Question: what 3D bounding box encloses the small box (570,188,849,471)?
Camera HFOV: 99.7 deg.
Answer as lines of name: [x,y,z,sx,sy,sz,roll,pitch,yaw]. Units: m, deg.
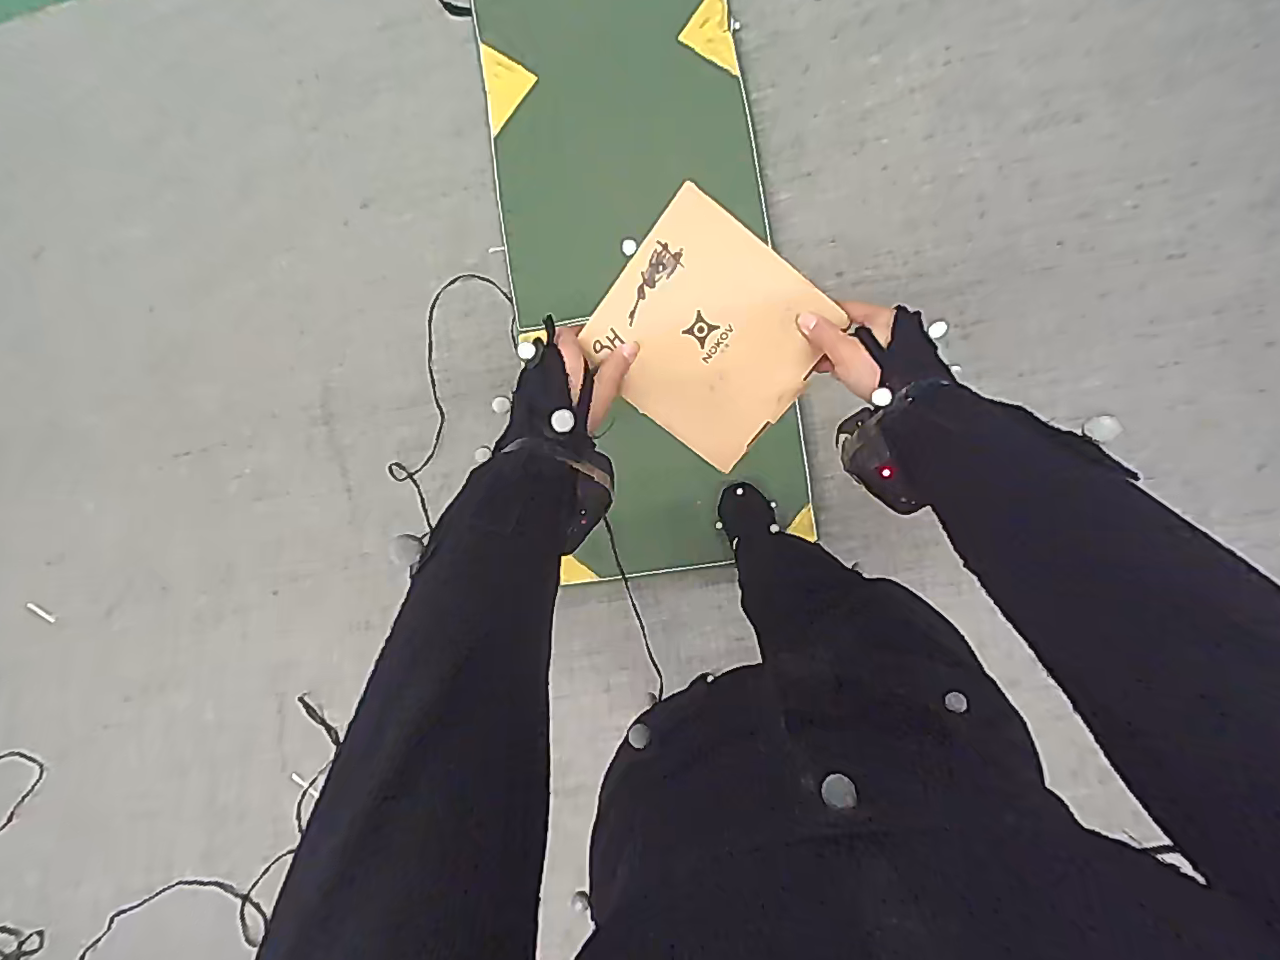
small box: [0.059,-0.140,0.527,0.179,0.176,0.168,37,102,-8]
